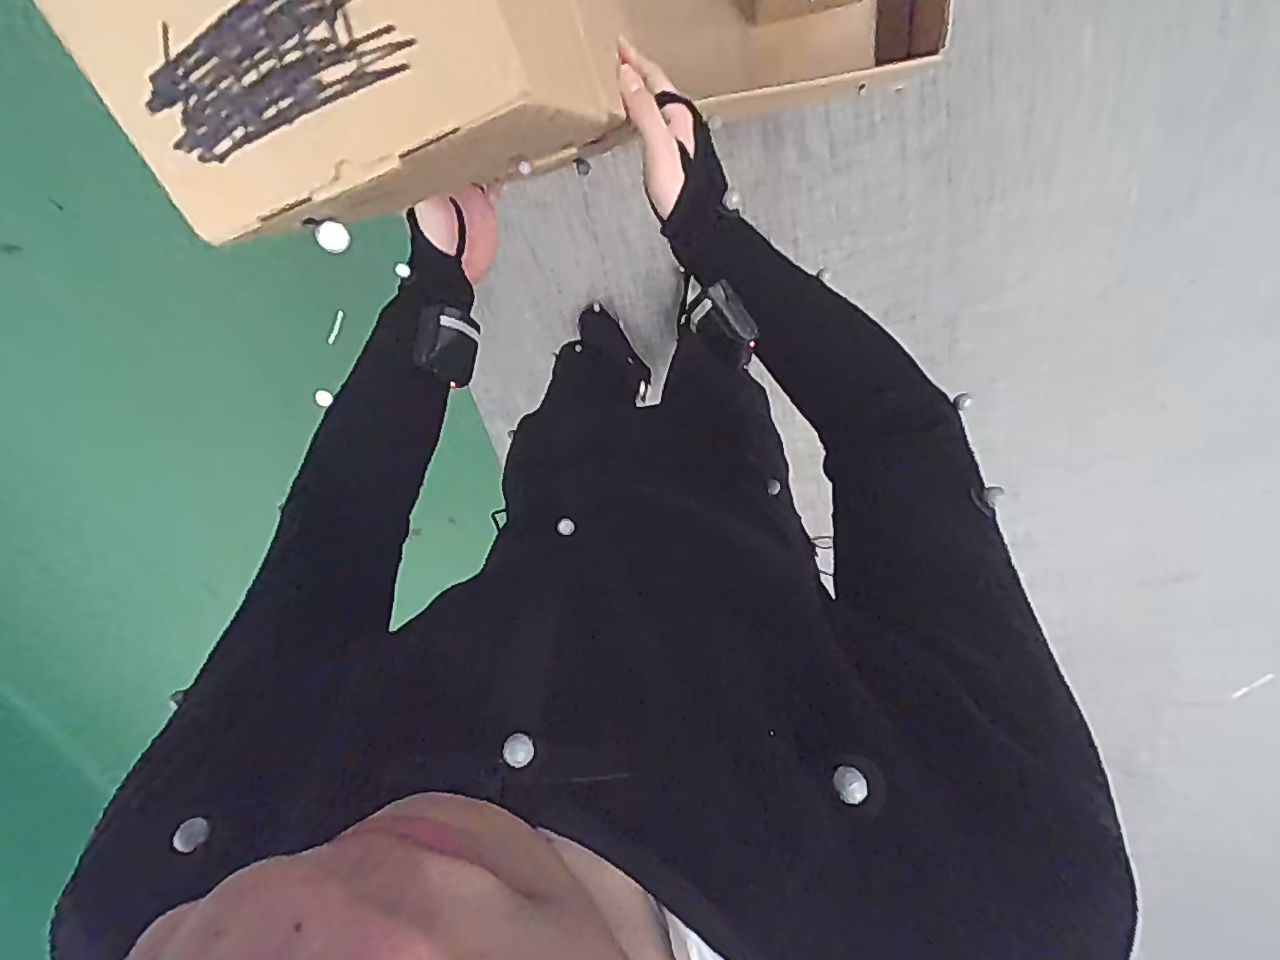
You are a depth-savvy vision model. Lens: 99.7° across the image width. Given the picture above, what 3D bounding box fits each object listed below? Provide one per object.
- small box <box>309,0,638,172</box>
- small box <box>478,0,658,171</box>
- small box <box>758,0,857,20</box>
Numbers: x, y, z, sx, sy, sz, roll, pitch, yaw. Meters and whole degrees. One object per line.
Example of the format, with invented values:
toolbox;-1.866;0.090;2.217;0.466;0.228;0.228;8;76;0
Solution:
small box;-0.107;-0.333;0.373;0.168;0.176;0.179;-11;120;14
small box;-0.087;-0.413;0.512;0.168;0.176;0.179;-11;119;14
small box;0.236;-0.742;0.698;0.168;0.176;0.179;-5;117;12
